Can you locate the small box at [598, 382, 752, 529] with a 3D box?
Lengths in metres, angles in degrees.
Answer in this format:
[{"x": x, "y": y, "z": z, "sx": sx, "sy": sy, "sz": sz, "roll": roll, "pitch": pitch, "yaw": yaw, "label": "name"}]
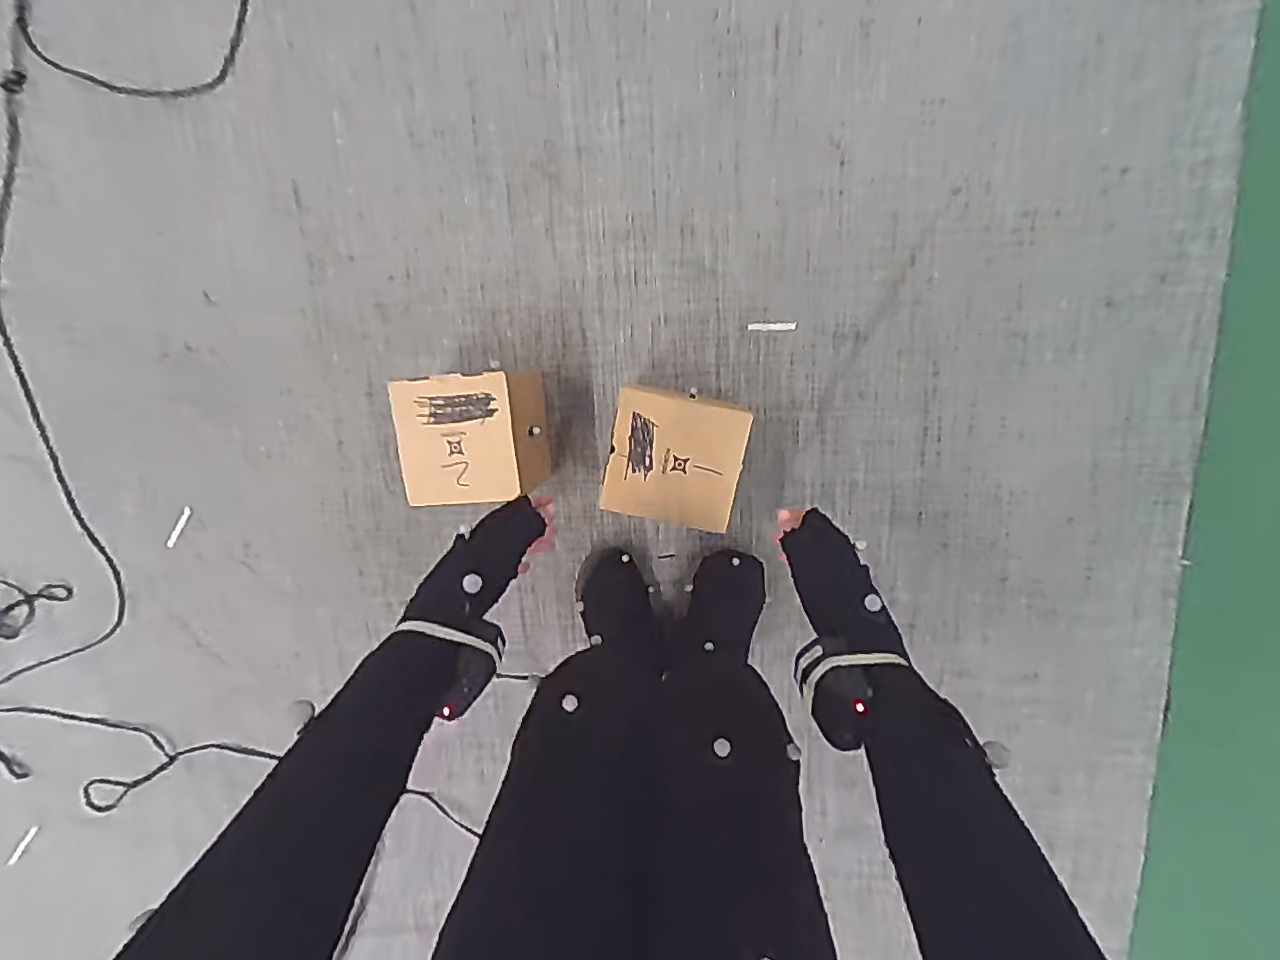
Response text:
[{"x": 0.049, "y": -0.044, "z": 0.784, "sx": 0.179, "sy": 0.176, "sz": 0.168, "roll": 12, "pitch": 103, "yaw": 2, "label": "small box"}]
